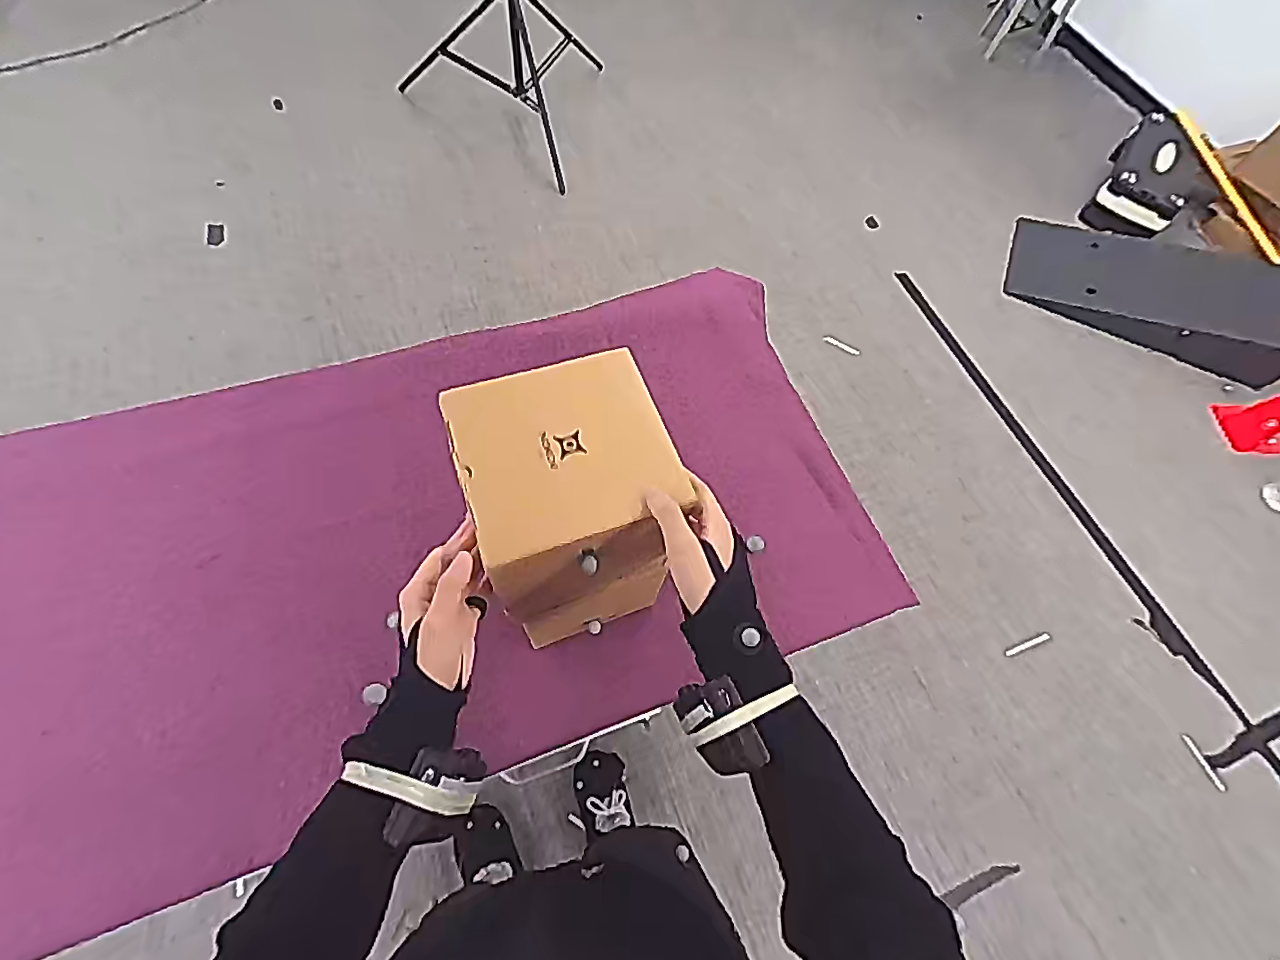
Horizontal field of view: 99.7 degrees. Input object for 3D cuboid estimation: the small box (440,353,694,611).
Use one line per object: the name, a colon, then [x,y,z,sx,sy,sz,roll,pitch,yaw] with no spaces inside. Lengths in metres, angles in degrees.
small box: [-0.071,0.010,0.521,0.179,0.176,0.168,-18,68,-13]

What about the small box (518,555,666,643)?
small box: [-0.085,0.080,0.667,0.168,0.176,0.179,-18,68,-14]
